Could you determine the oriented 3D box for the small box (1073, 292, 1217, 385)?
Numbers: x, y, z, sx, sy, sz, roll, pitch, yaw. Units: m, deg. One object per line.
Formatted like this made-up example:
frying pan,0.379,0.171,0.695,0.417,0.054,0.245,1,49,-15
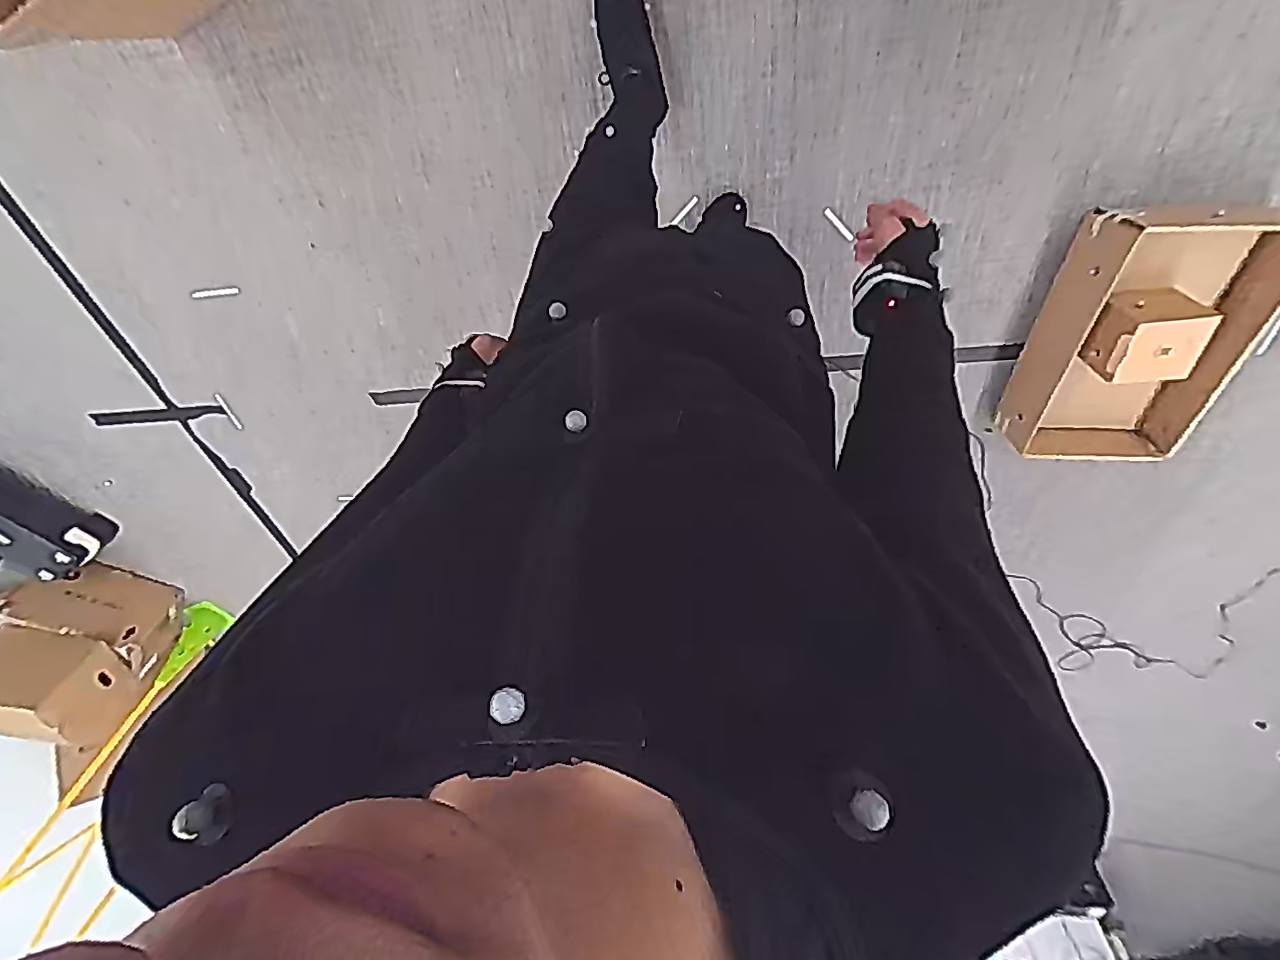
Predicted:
small box,1.238,-0.354,1.346,0.179,0.176,0.168,-3,131,7
